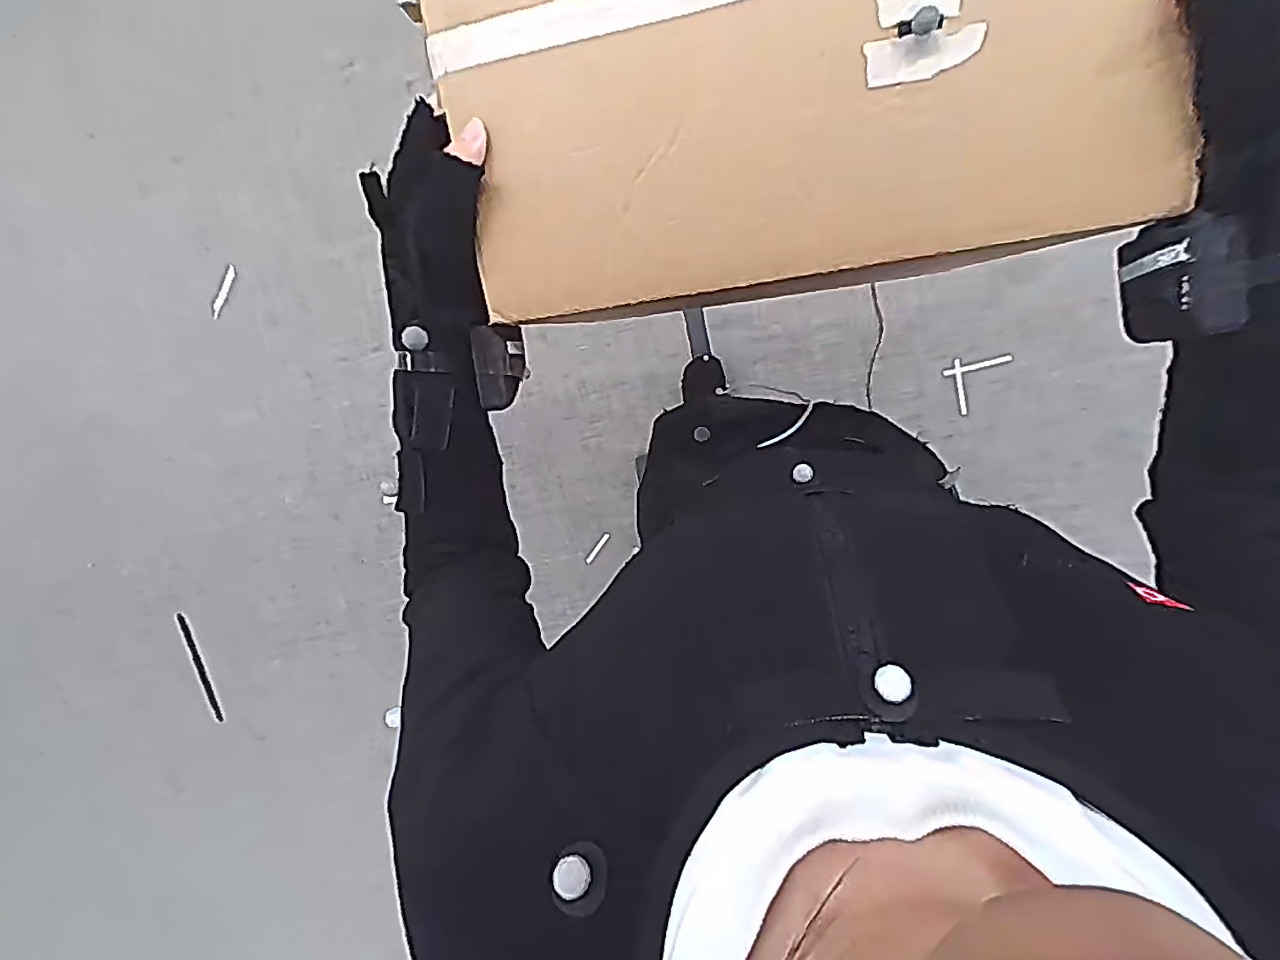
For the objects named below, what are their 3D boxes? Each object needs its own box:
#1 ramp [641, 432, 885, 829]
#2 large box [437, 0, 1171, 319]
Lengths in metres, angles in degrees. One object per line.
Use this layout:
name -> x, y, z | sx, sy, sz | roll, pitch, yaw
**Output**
ramp -> 0.306, 0.401, 1.420 | 0.509, 0.206, 0.991 | -10, 97, 12
large box -> 0.093, -0.324, 0.444 | 0.408, 0.320, 0.320 | -6, 106, 10
